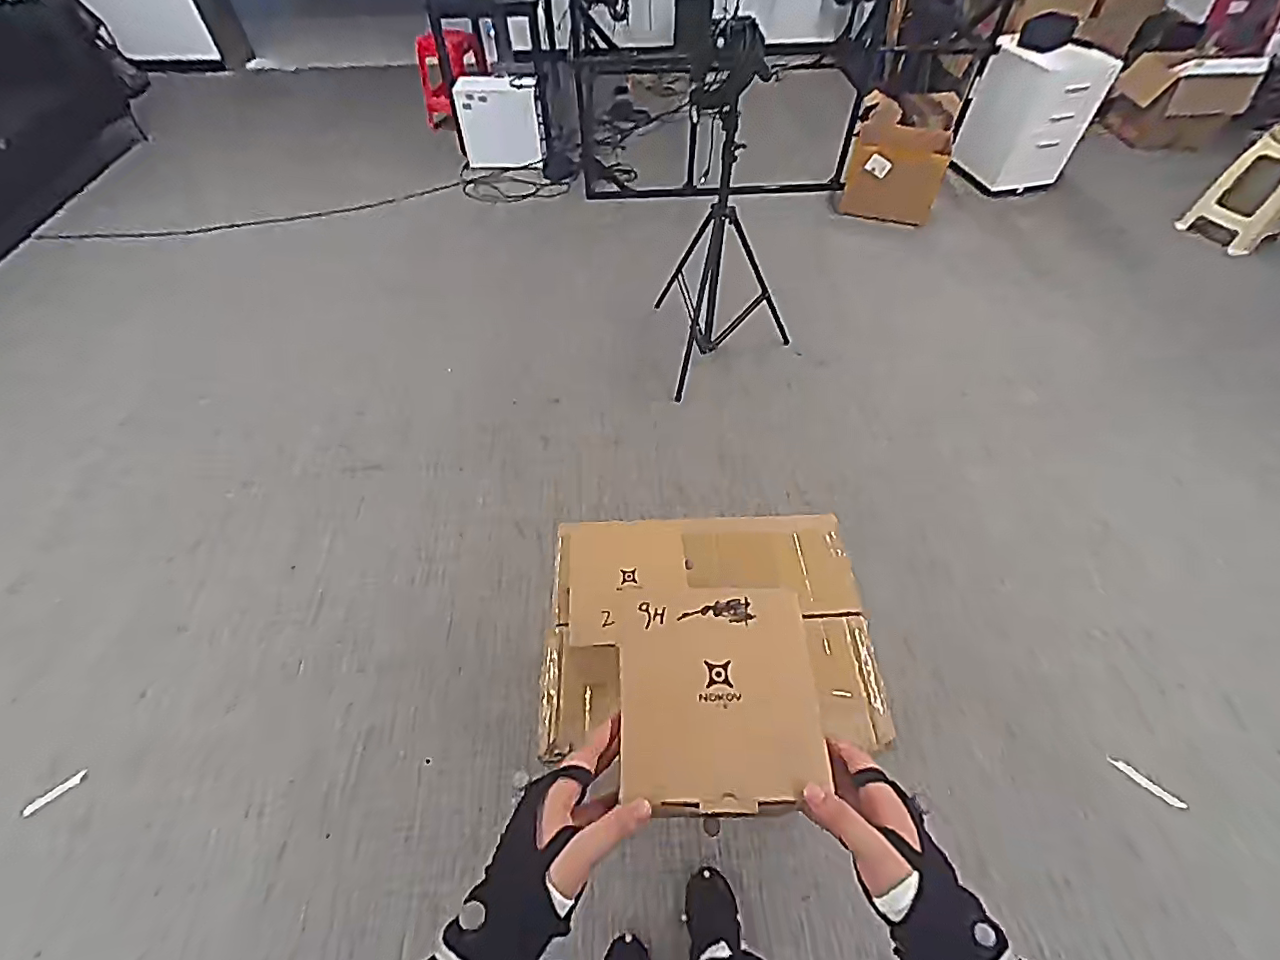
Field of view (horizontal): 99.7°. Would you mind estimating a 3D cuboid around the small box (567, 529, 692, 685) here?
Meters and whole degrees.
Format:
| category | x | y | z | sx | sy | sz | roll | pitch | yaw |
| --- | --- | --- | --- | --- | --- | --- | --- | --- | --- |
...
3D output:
| category | x | y | z | sx | sy | sz | roll | pitch | yaw |
| --- | --- | --- | --- | --- | --- | --- | --- | --- | --- |
| small box | -0.019 | 0.193 | 0.816 | 0.168 | 0.176 | 0.179 | -3 | 54 | -2 |
